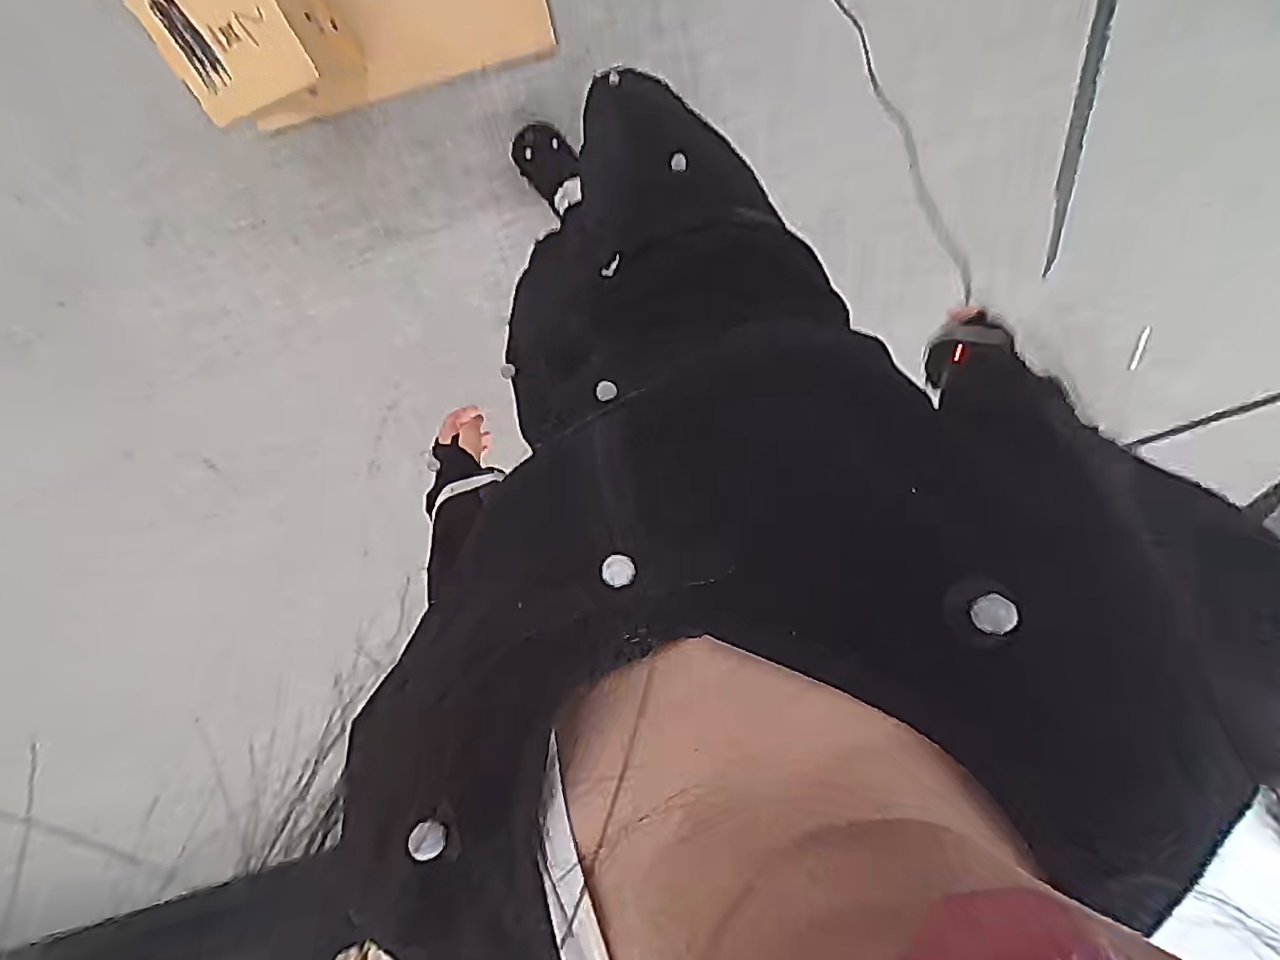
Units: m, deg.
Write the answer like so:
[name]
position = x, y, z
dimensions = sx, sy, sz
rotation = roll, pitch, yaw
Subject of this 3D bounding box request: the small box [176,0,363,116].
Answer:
[small box]
position = -0.610, -0.752, 0.920
dimensions = 0.179, 0.176, 0.168
rotation = -25, 128, 6
